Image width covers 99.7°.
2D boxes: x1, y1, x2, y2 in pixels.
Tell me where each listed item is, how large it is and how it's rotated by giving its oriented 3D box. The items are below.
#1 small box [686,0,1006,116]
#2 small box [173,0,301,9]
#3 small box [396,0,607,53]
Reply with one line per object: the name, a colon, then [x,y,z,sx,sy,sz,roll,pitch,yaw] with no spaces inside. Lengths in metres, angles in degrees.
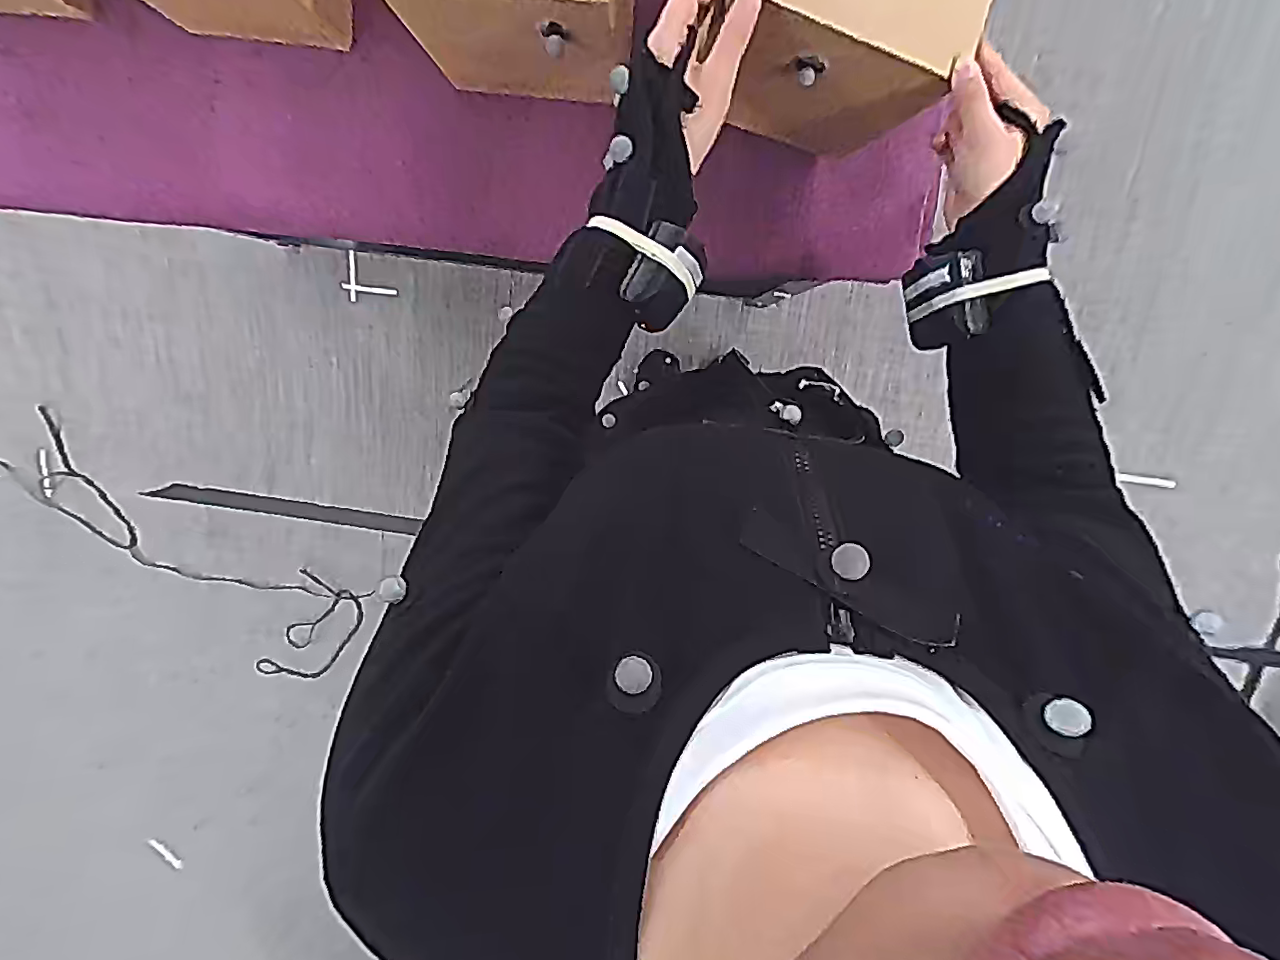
small box: [0.133,-0.382,0.373,0.179,0.176,0.168,2,103,-7]
small box: [-0.388,-0.515,0.427,0.179,0.176,0.168,6,107,2]
small box: [-0.114,-0.467,0.420,0.179,0.176,0.168,4,106,3]
